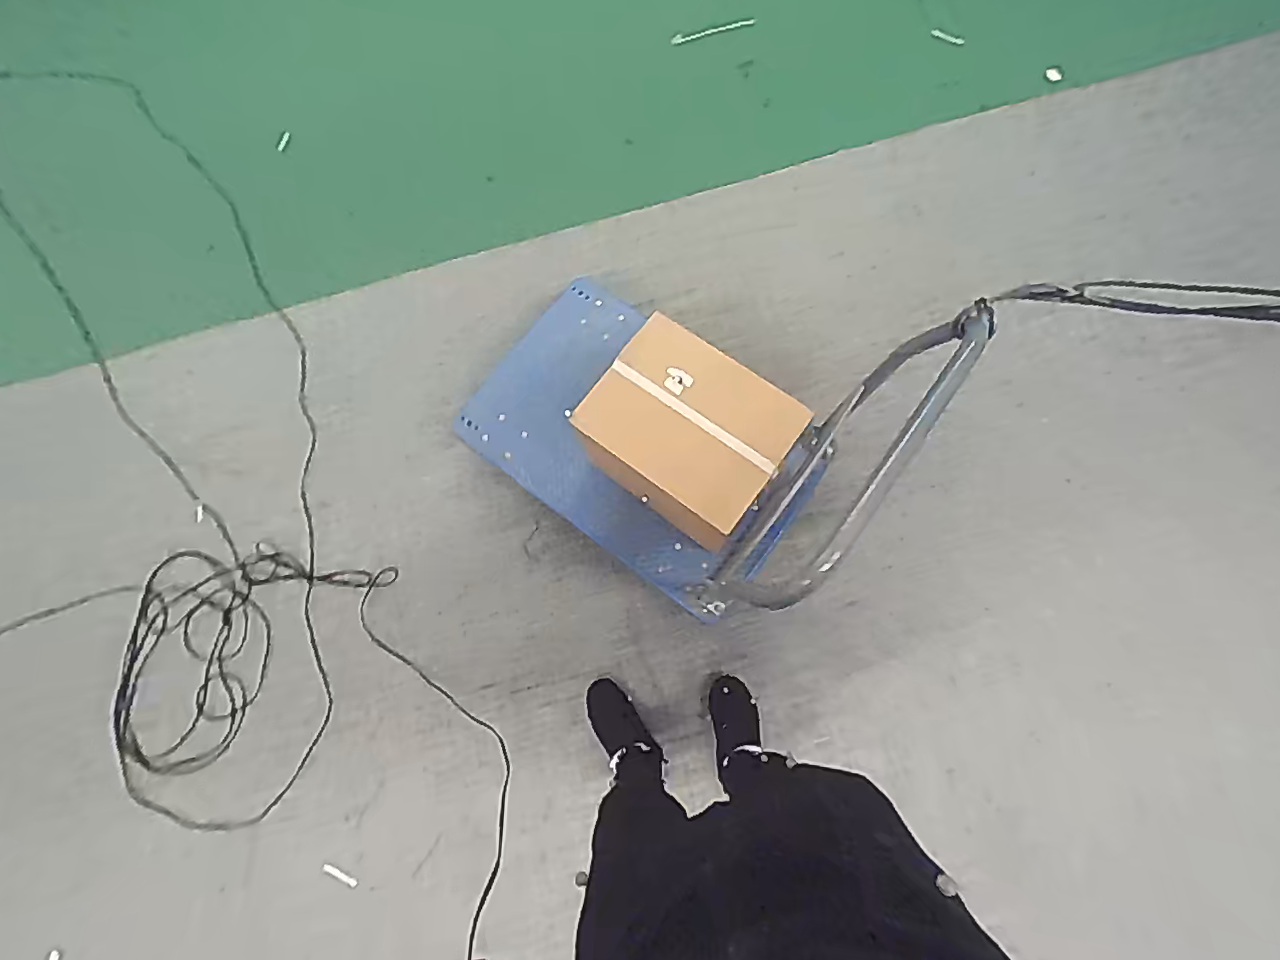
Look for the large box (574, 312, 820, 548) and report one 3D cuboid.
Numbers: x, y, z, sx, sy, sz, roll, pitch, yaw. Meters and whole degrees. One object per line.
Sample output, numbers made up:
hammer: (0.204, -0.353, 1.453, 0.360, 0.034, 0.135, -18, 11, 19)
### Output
large box: (0.123, -0.094, 1.227, 0.408, 0.320, 0.320, 35, 80, 11)
